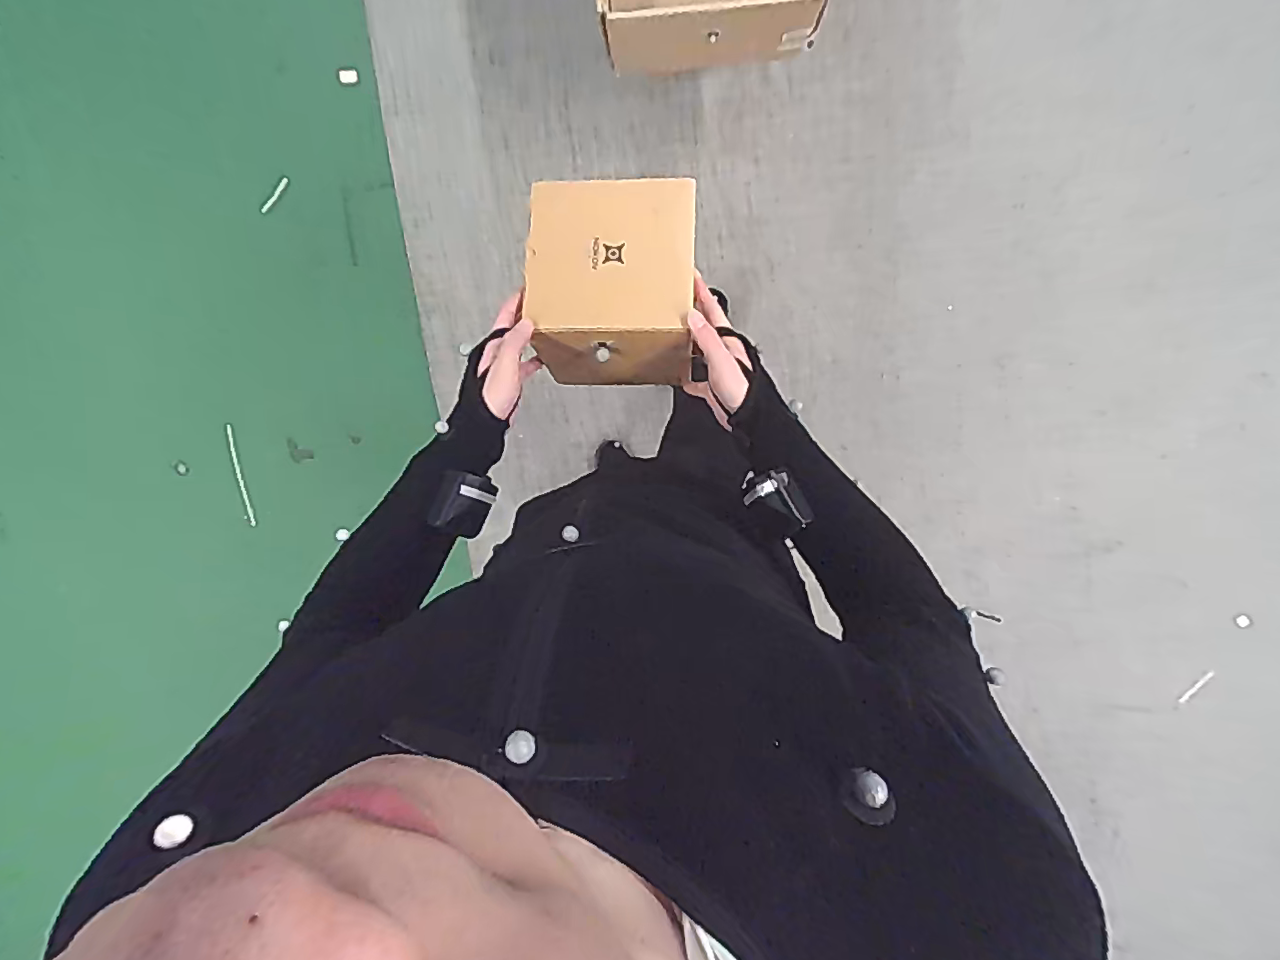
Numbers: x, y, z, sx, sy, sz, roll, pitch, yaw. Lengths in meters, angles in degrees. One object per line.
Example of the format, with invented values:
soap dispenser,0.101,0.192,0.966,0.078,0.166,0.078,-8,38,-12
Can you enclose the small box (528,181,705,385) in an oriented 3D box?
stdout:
small box,-0.018,-0.215,0.627,0.179,0.176,0.168,1,81,5
